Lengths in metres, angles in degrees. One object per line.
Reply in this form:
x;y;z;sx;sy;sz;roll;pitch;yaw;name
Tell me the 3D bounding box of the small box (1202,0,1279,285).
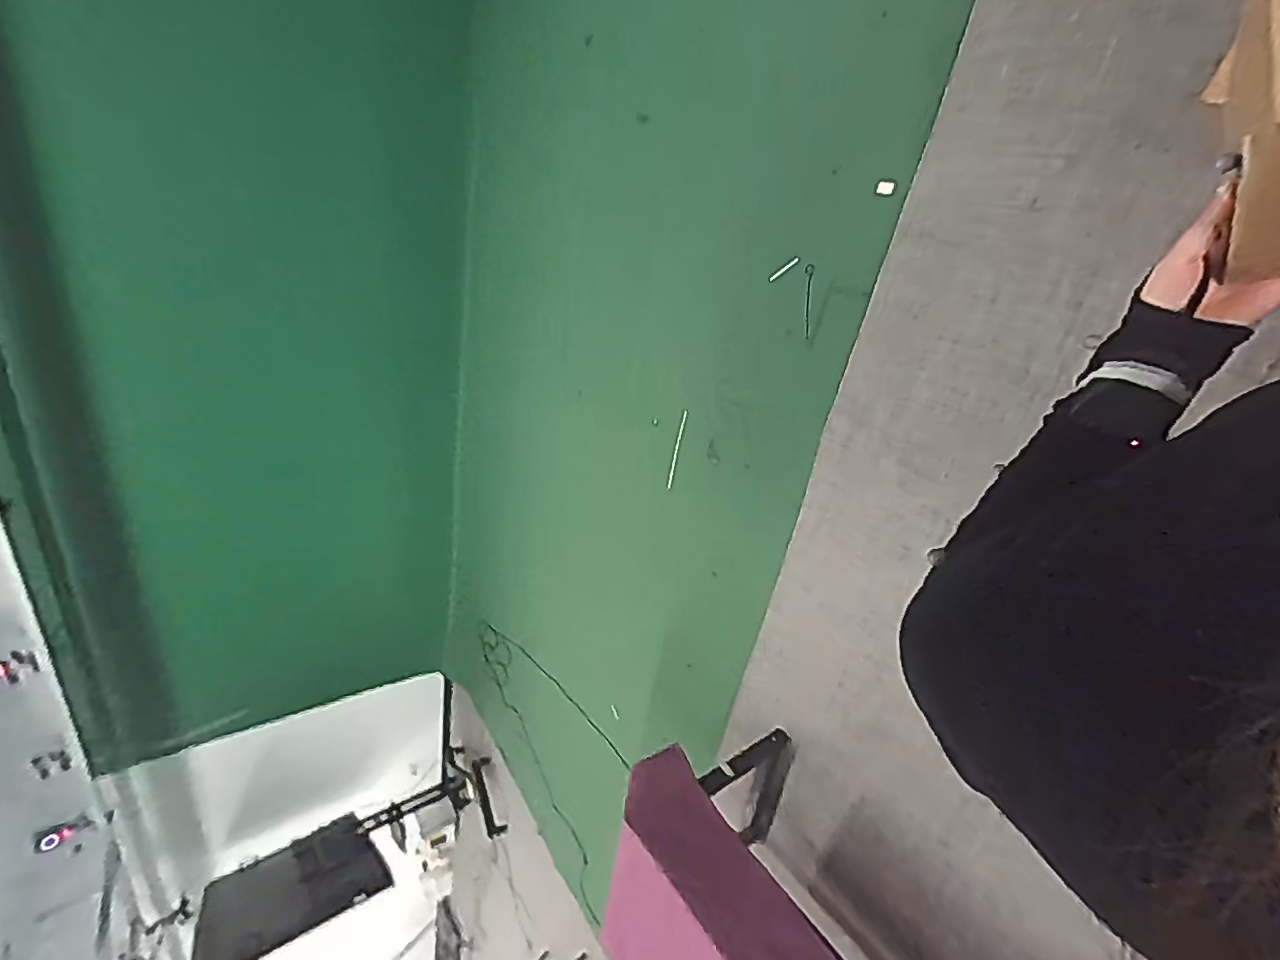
0.457;-0.246;0.314;0.168;0.179;0.176;2;79;39;small box
